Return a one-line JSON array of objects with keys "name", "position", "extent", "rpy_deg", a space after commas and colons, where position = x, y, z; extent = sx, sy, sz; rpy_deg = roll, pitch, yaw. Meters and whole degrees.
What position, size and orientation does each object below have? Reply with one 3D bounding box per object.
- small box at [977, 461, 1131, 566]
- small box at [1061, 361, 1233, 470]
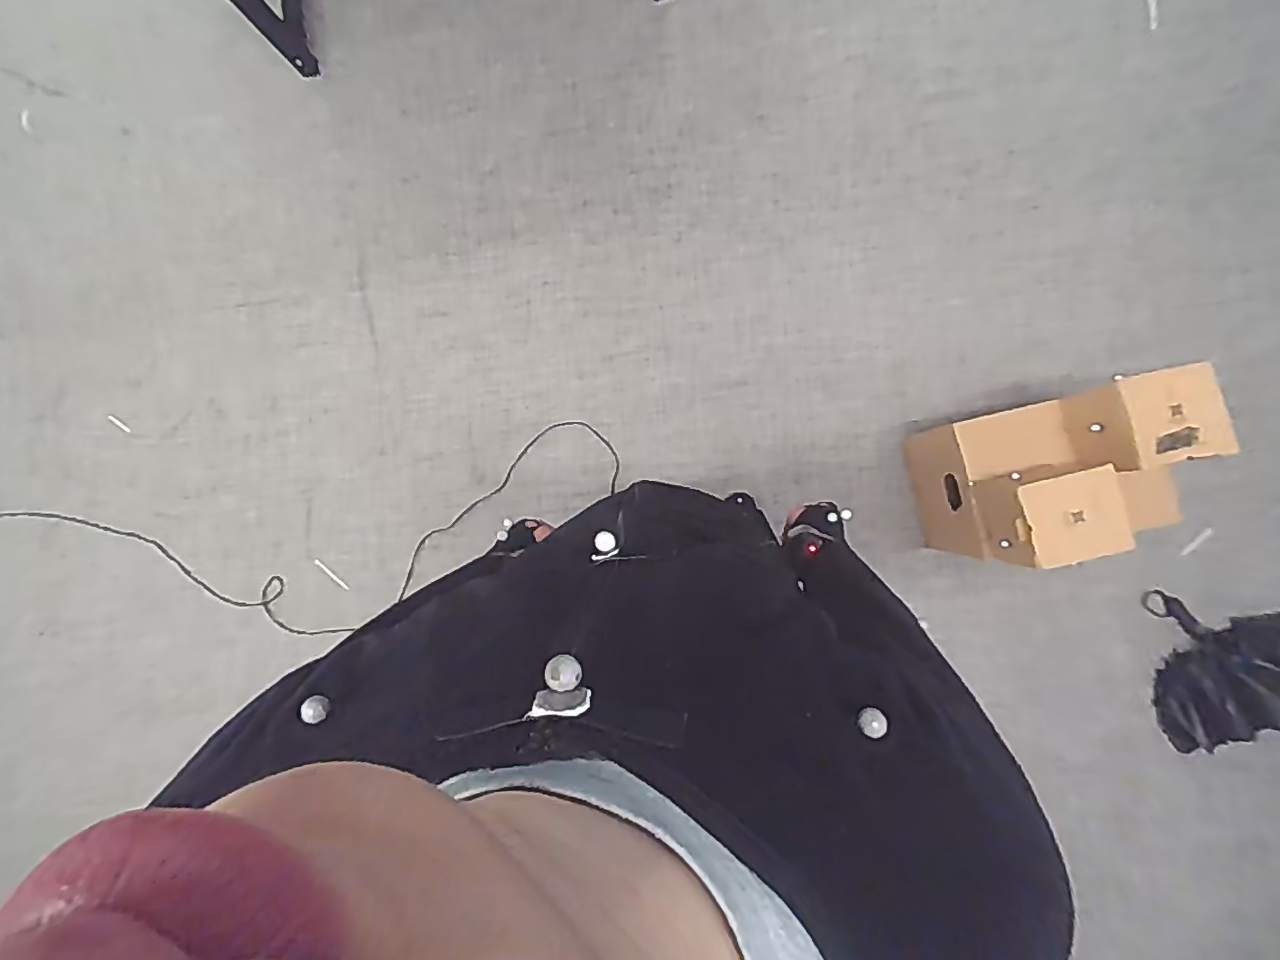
[{"name": "small box", "position": [0.816, 0.064, 1.090], "extent": [0.179, 0.176, 0.168], "rpy_deg": [-16, 90, 4]}, {"name": "small box", "position": [0.991, -0.116, 1.074], "extent": [0.168, 0.176, 0.179], "rpy_deg": [-11, 84, 6]}]
